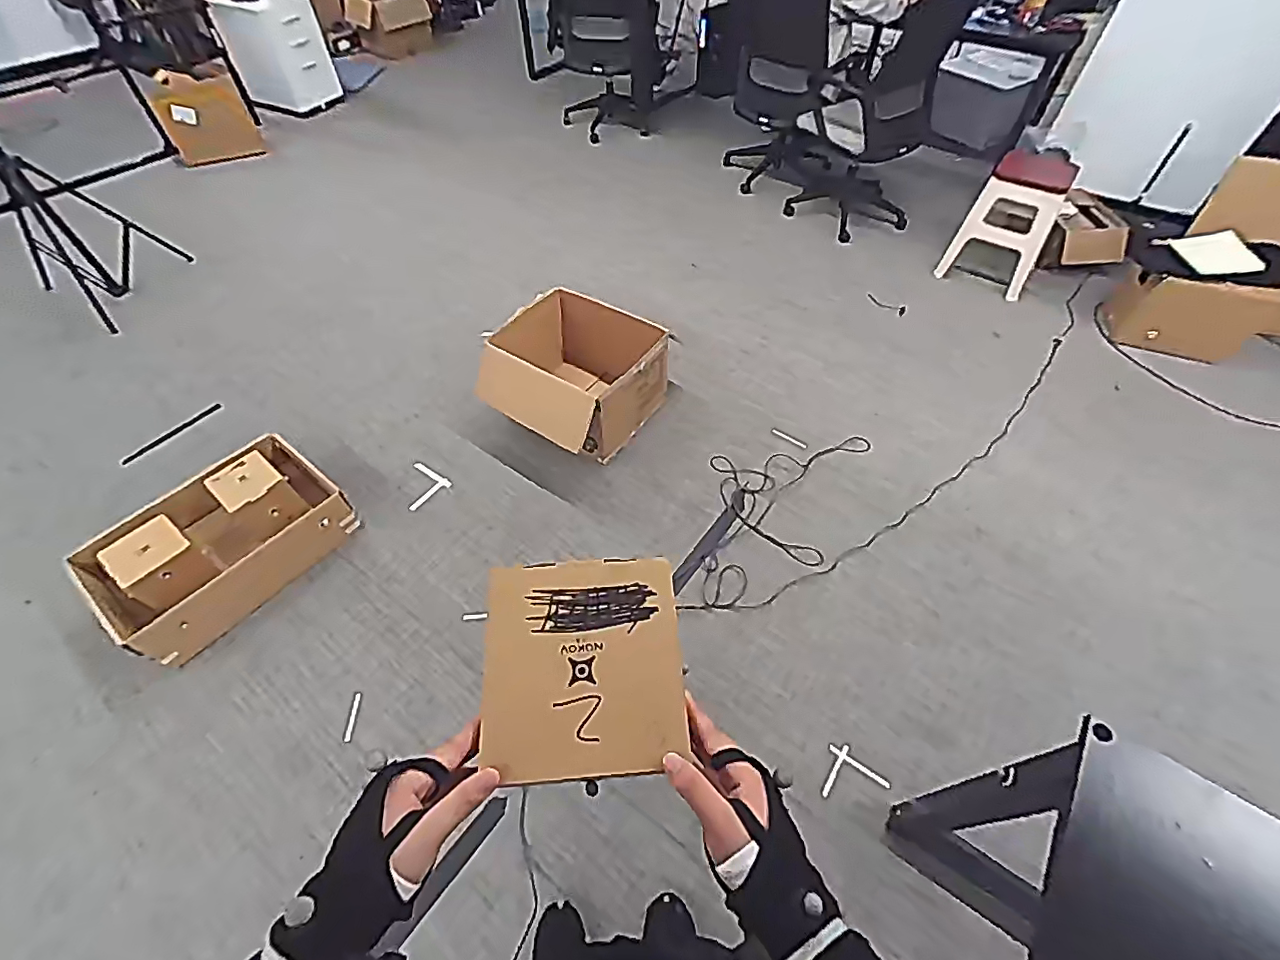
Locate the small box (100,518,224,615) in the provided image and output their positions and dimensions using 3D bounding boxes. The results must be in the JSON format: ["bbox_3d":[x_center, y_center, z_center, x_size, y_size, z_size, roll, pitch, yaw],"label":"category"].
[{"bbox_3d":[-1.346,0.249,1.533,0.168,0.176,0.179,32,57,20],"label":"small box"}]

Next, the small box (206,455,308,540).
[{"bbox_3d":[-1.179,0.062,1.678,0.179,0.176,0.168,35,61,22],"label":"small box"}]
